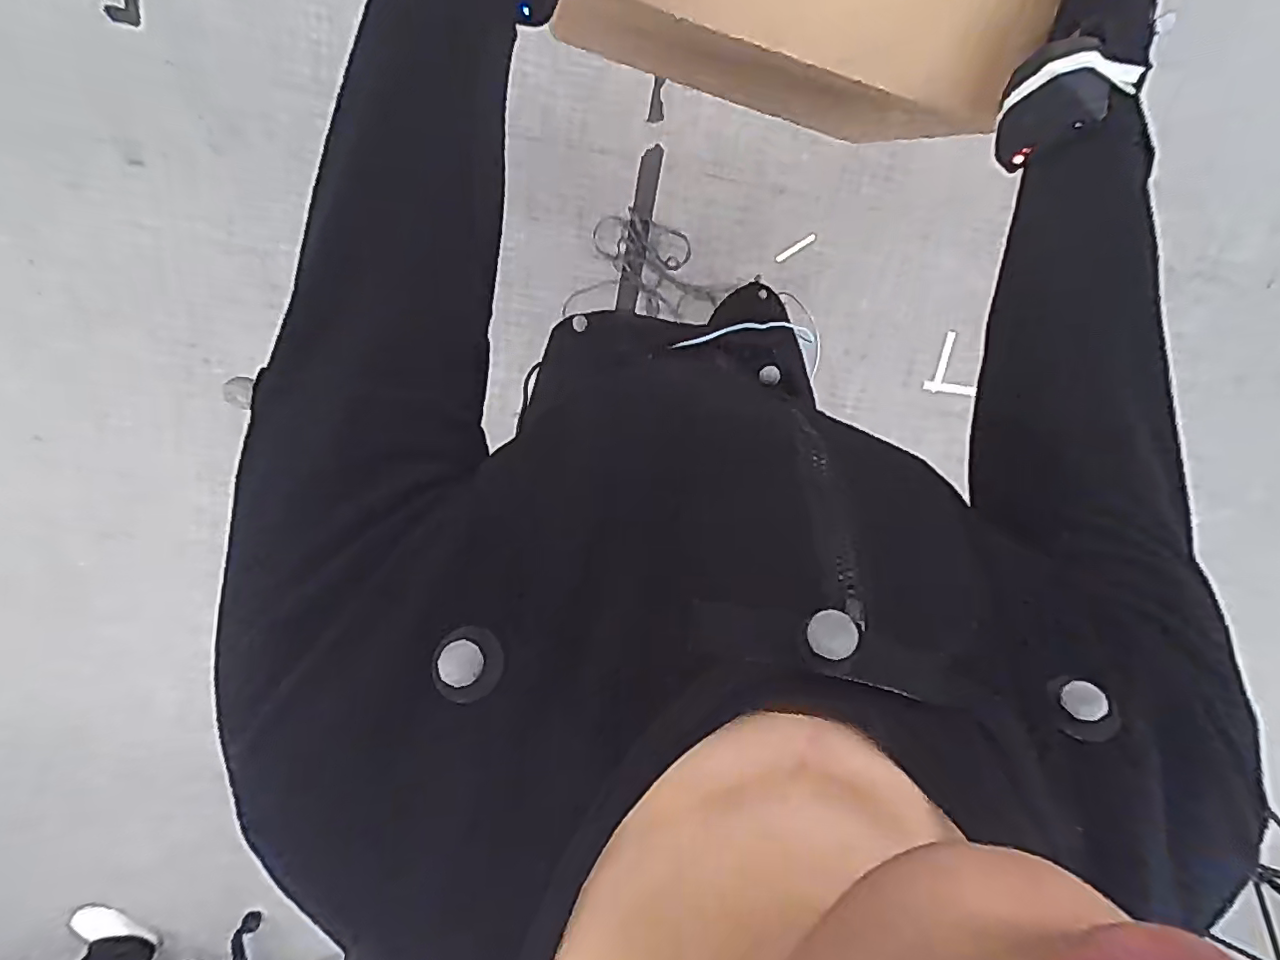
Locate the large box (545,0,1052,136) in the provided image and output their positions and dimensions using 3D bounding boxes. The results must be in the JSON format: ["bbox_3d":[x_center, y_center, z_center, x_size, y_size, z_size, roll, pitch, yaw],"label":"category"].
[{"bbox_3d":[0.135,-0.542,0.483,0.408,0.320,0.320,11,120,-11],"label":"large box"}]
